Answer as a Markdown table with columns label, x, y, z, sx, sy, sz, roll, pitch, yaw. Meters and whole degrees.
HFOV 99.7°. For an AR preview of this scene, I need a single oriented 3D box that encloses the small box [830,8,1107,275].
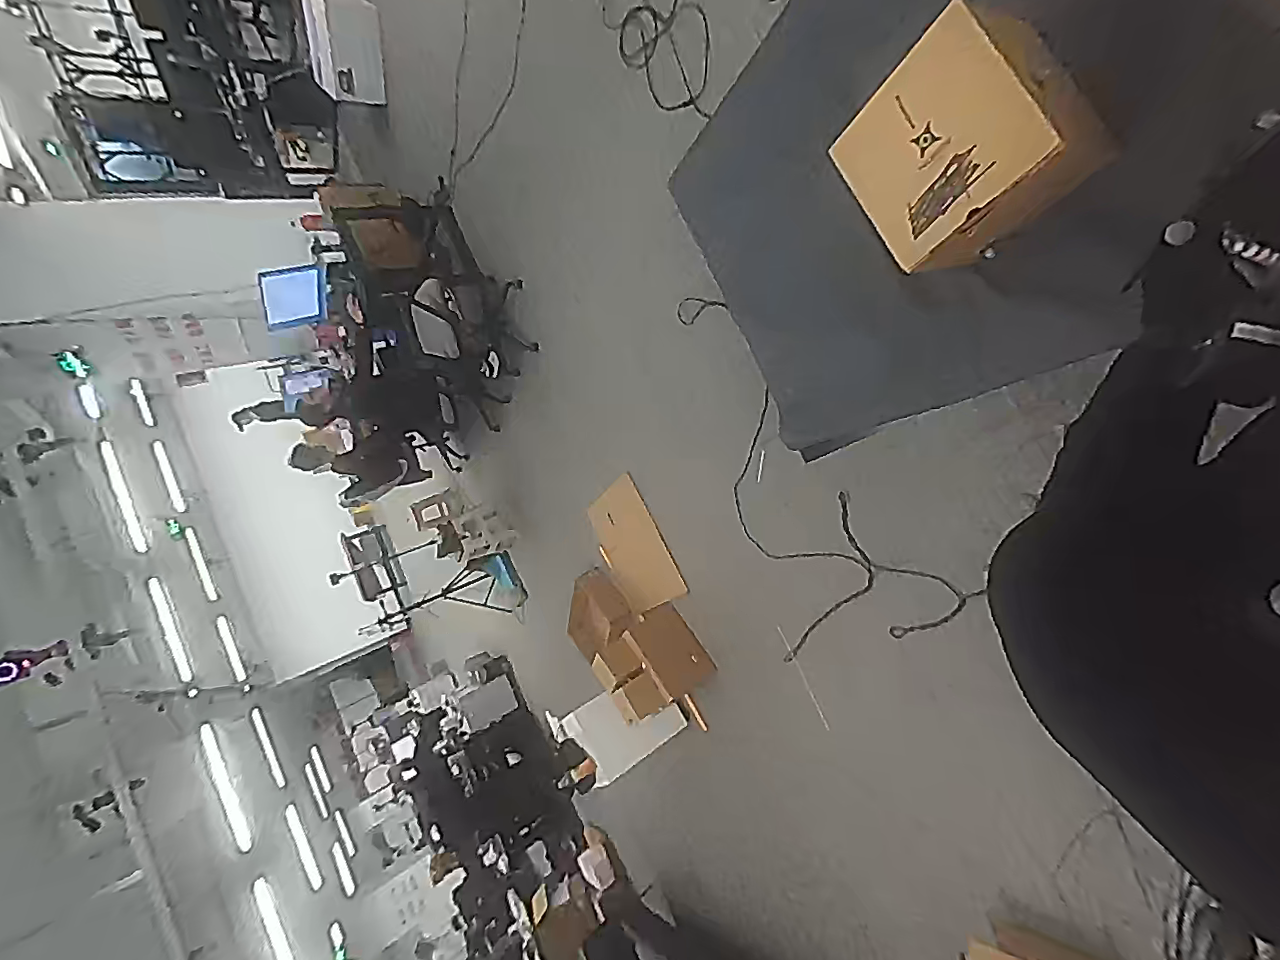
| label | x | y | z | sx | sy | sz | roll | pitch | yaw |
| --- | --- | --- | --- | --- | --- | --- | --- | --- | --- |
| small box | 0.355 | -0.355 | 0.591 | 0.168 | 0.176 | 0.179 | -40 | 73 | 55 |
